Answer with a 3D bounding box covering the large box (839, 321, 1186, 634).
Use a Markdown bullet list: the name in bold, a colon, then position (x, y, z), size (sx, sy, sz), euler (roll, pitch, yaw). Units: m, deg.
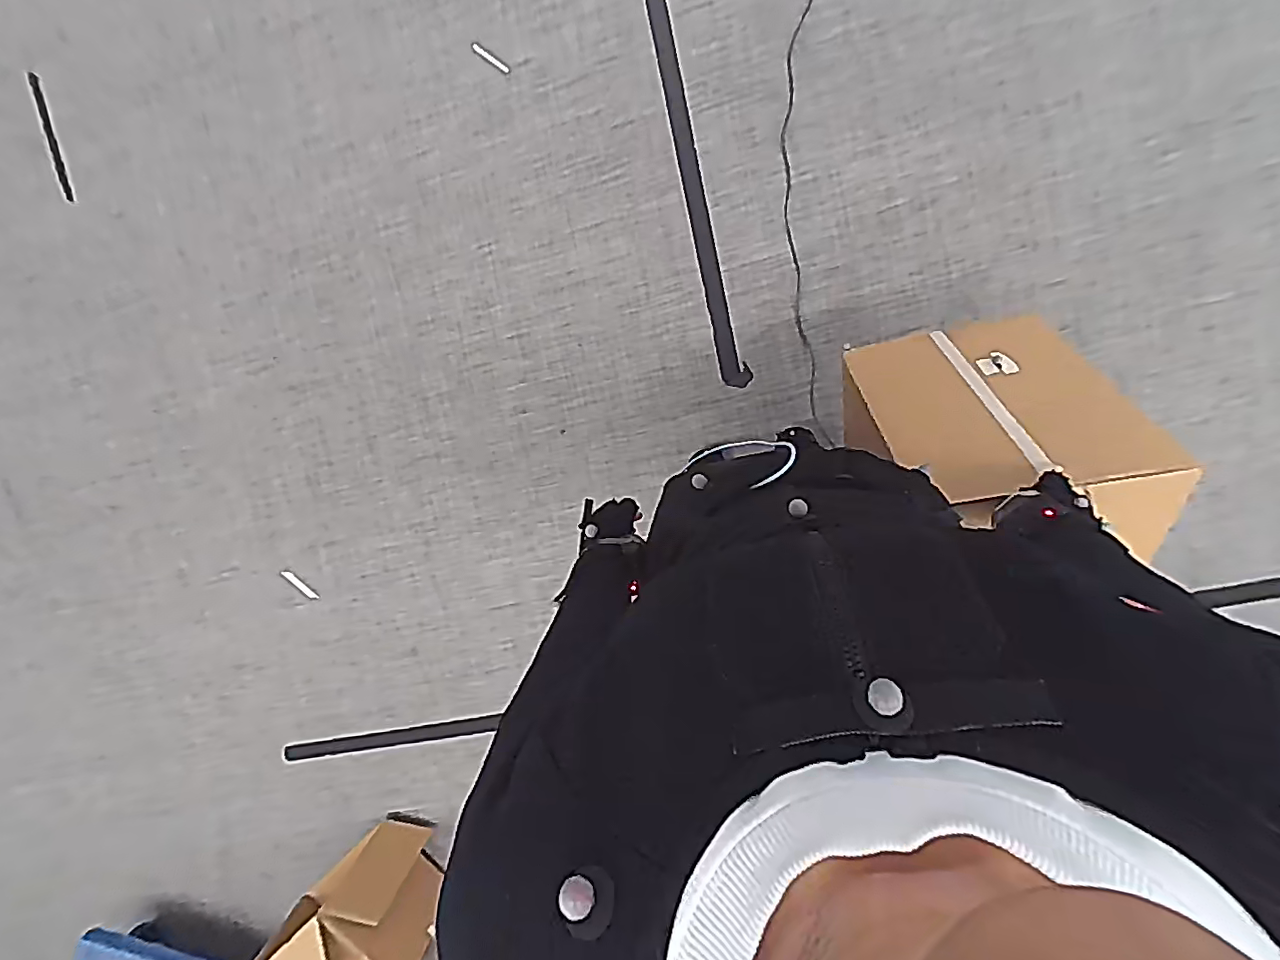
- **large box**: position (0.551, -0.010, 0.914), size (0.320, 0.408, 0.320), euler (-10, 130, 9)
